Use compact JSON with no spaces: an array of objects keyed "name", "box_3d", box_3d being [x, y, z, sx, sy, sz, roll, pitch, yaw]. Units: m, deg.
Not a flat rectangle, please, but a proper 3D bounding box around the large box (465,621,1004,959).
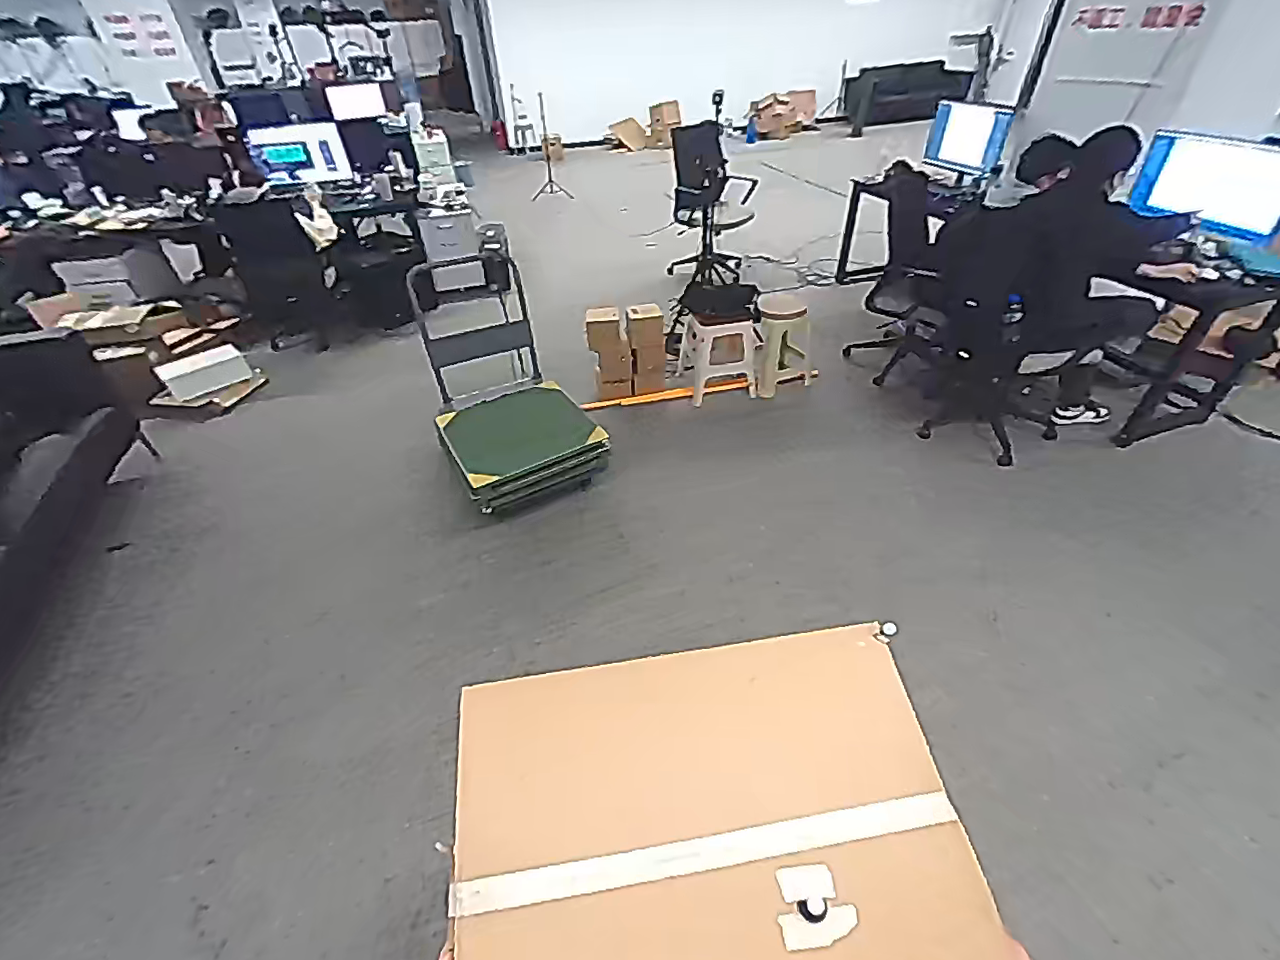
[{"name":"large box","box_3d":[0.057,0.378,0.568,0.408,0.320,0.320,-8,58,-5]}]
